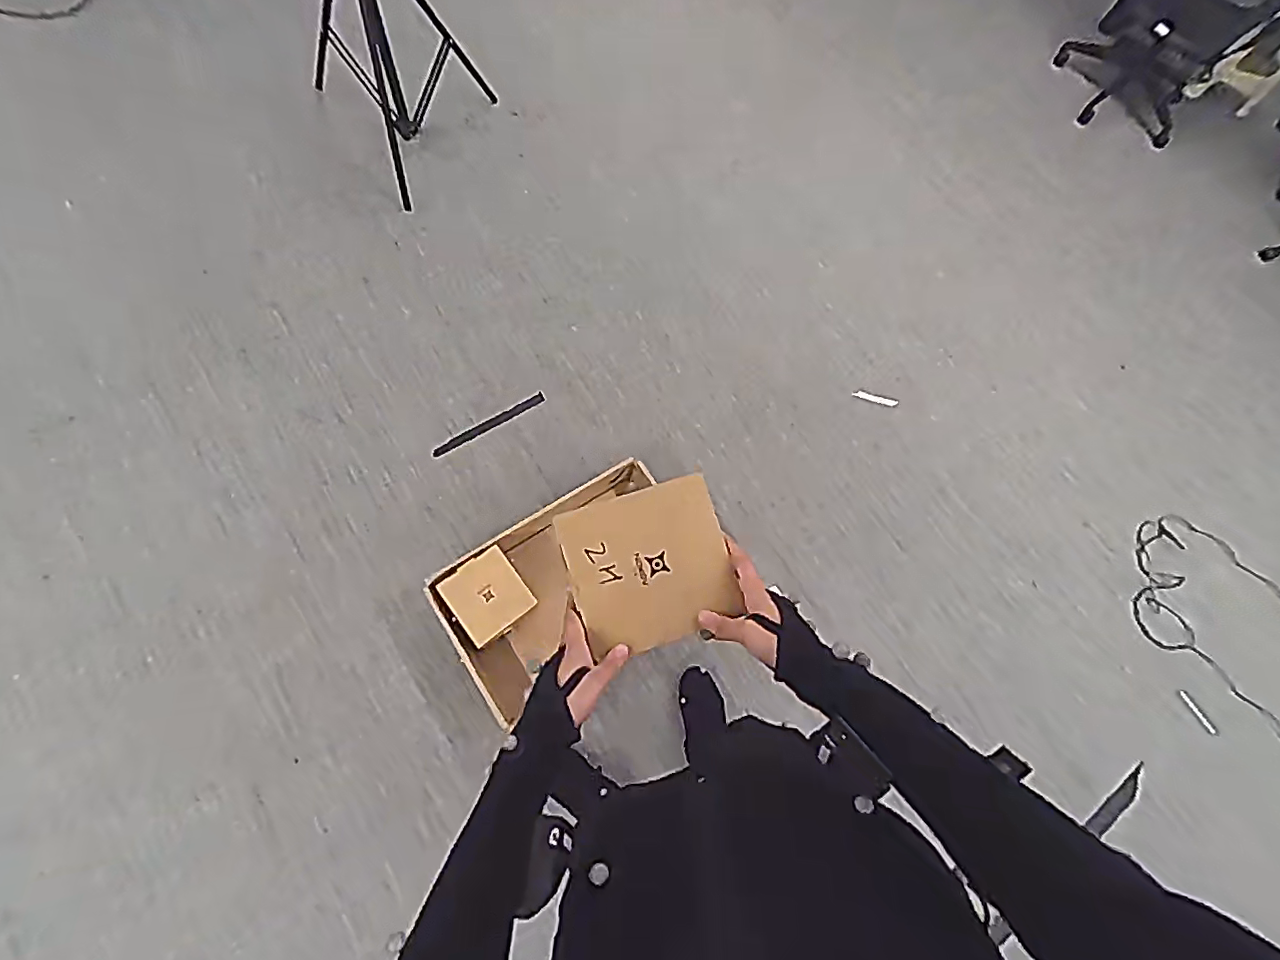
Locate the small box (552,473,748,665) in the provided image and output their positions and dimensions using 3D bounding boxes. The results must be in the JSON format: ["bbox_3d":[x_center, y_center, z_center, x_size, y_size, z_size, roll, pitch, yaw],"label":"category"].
[{"bbox_3d":[0.006,0.102,0.653,0.179,0.176,0.168,-17,82,-5],"label":"small box"}]
